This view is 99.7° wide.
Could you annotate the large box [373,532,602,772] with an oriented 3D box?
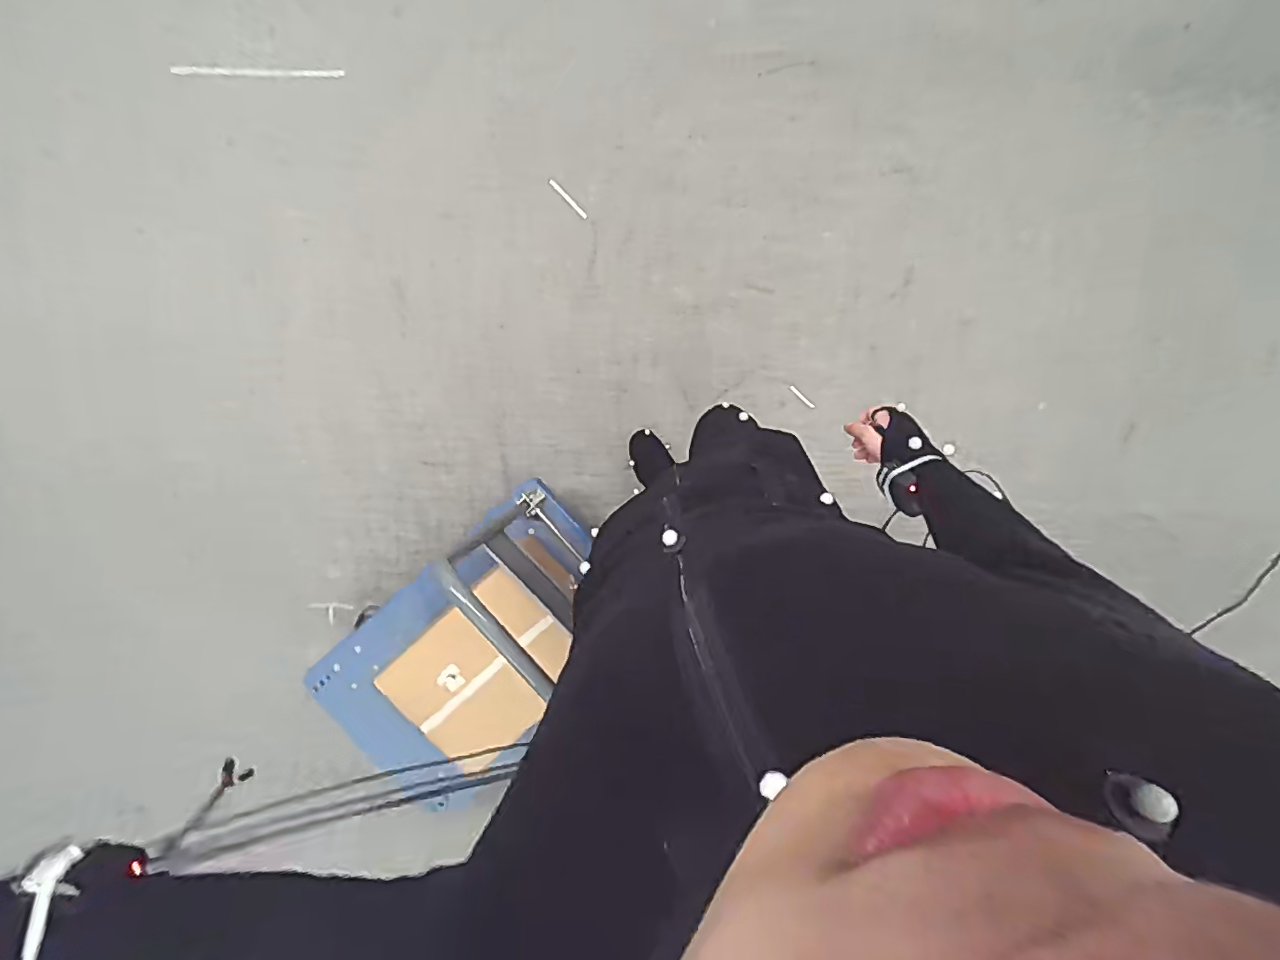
[{"bbox_3d":[-0.341,0.394,1.328,0.408,0.320,0.320,-42,95,4],"label":"large box"}]
